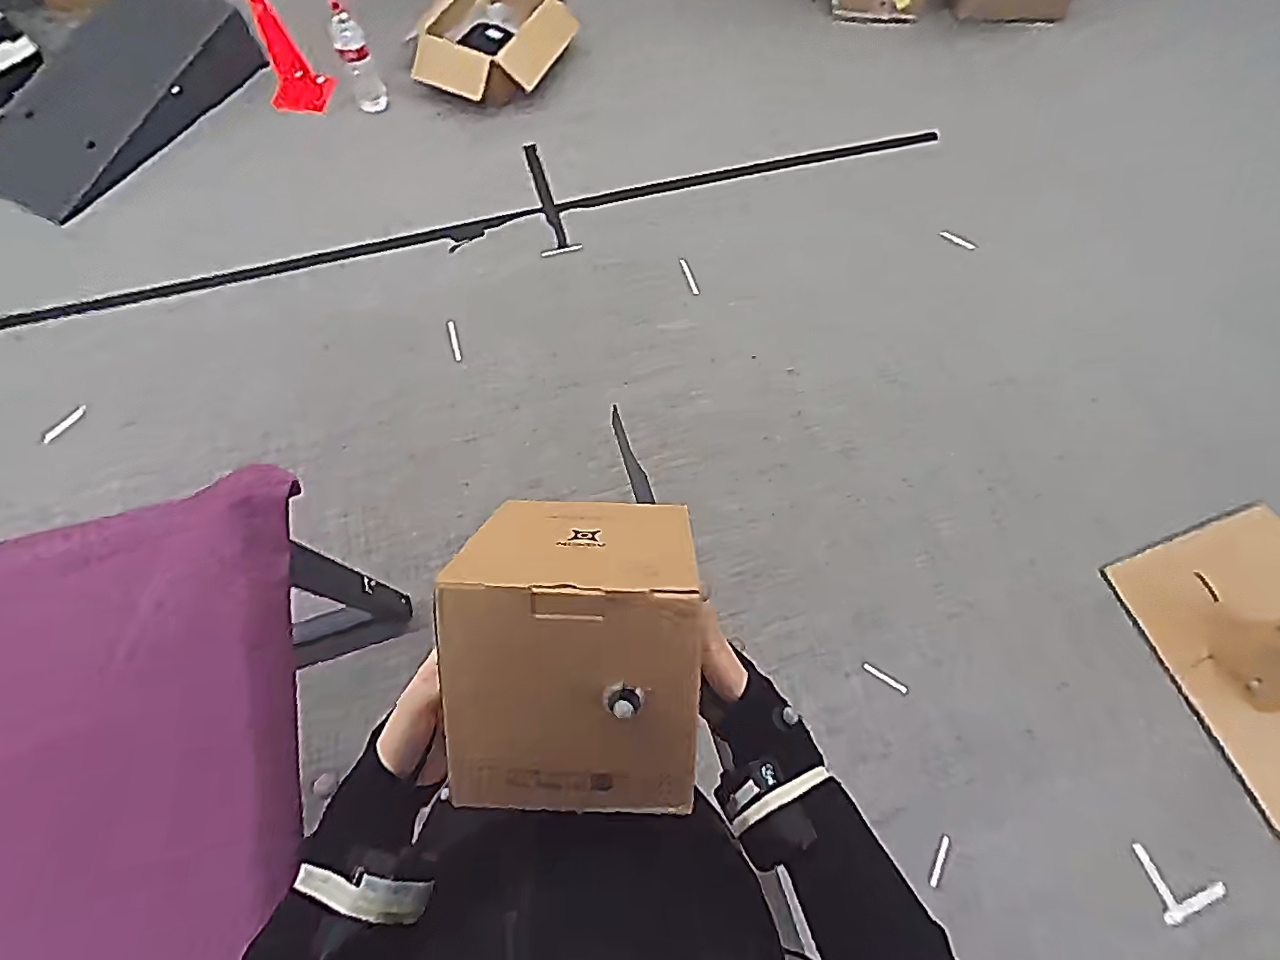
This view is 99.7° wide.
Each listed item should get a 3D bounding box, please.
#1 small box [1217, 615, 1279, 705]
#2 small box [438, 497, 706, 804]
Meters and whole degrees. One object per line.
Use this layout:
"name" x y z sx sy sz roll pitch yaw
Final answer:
"small box" 1.626 0.441 1.346 0.179 0.176 0.168 -26 69 -12
"small box" -0.041 0.120 0.425 0.168 0.179 0.176 3 105 0
